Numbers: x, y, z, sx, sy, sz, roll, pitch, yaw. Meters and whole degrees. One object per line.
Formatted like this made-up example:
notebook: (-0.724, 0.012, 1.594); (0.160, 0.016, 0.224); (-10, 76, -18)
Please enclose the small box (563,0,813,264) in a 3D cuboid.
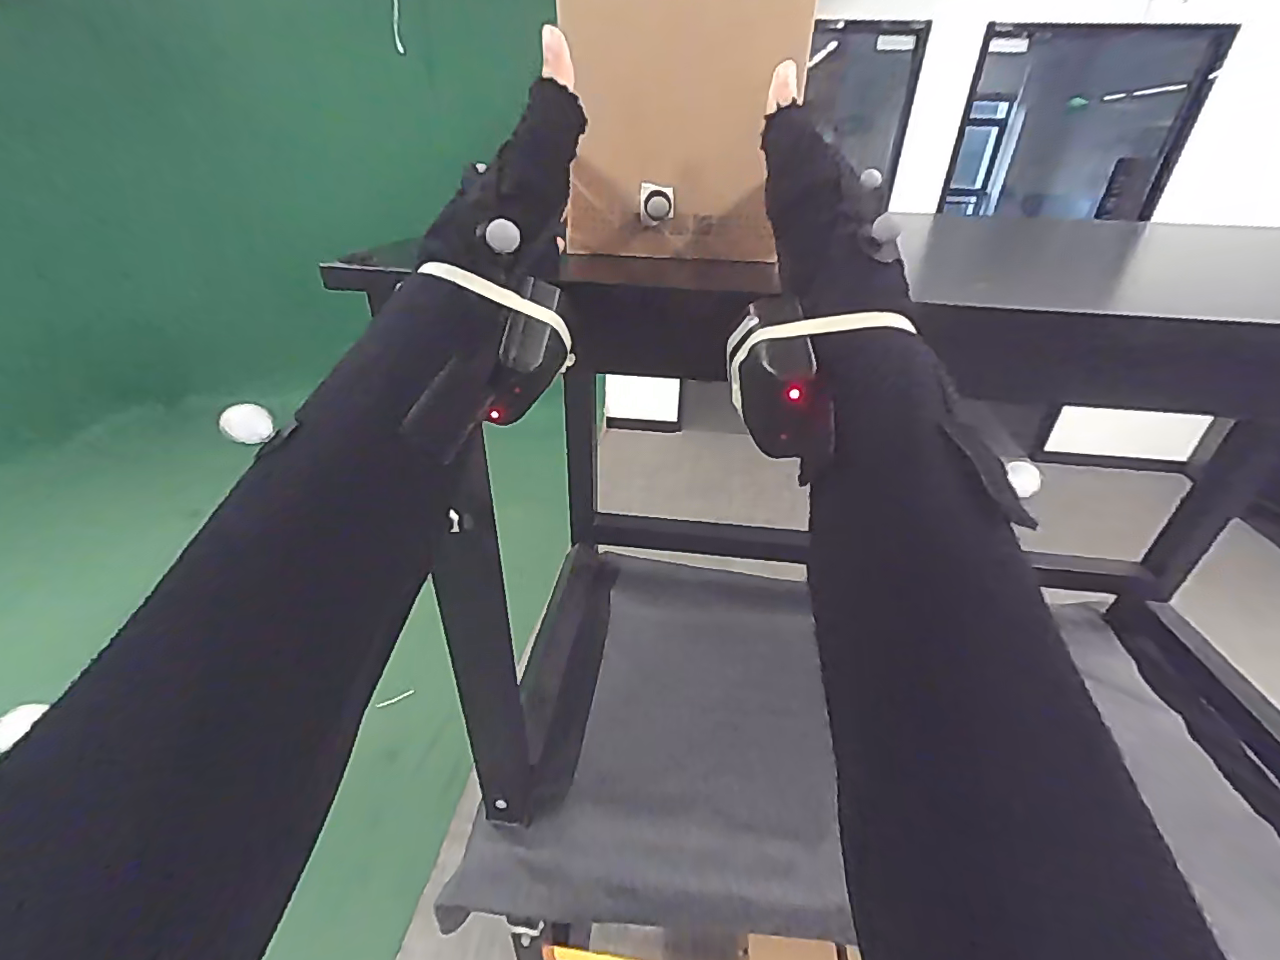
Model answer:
small box: (0.033, -0.288, 0.455); (0.168, 0.176, 0.179); (3, 31, 3)
